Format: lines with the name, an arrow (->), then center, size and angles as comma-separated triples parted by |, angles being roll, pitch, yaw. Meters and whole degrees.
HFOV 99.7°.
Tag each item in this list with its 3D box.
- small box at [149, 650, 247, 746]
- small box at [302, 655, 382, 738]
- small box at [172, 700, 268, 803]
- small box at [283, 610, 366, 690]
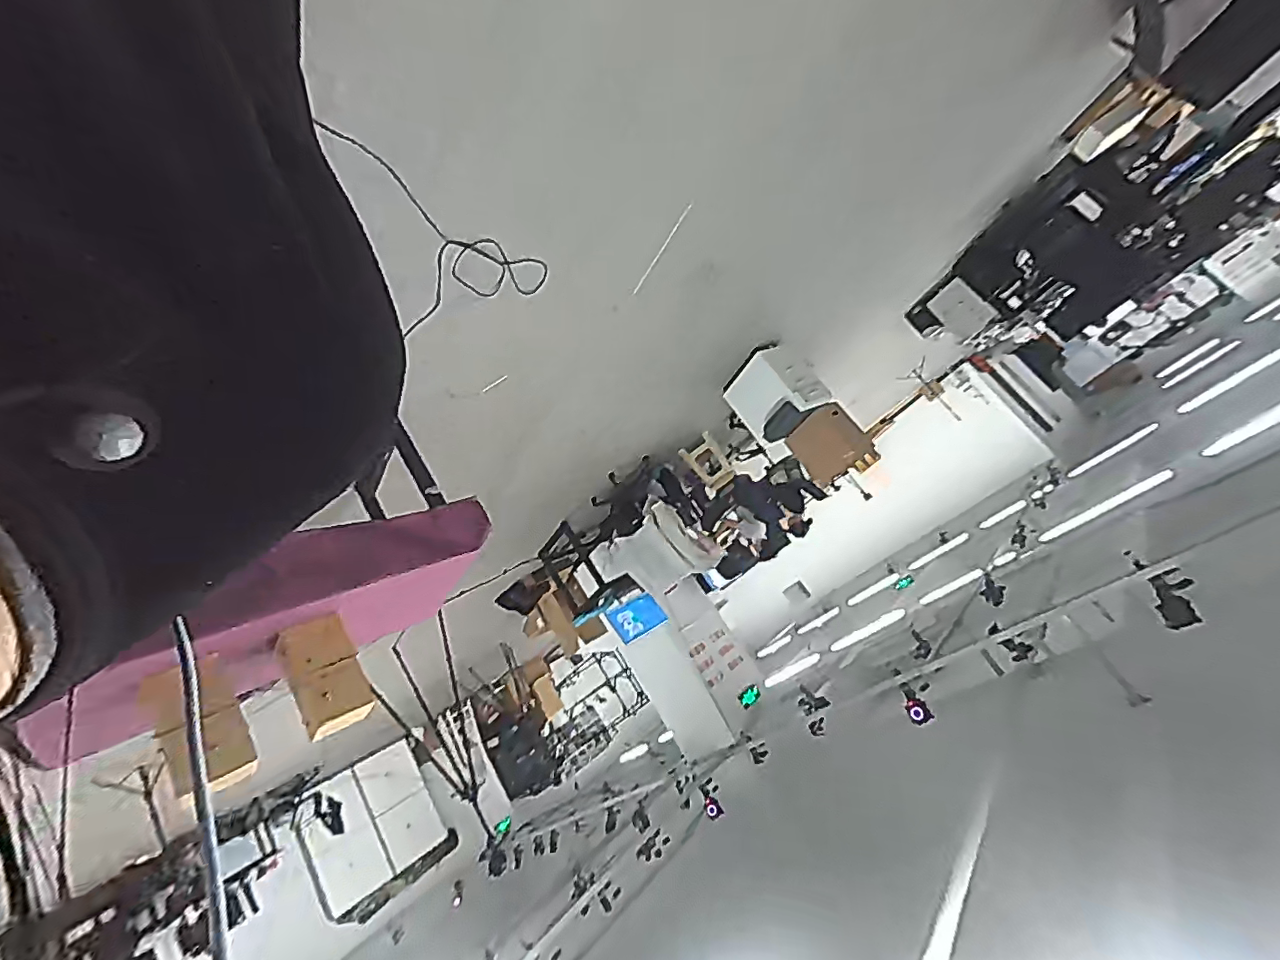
small box -> -1.247, 0.611, 1.530 | 0.179, 0.176, 0.168 | -19, 157, -45
small box -> -0.955, 0.681, 1.724 | 0.168, 0.176, 0.179 | -15, 155, -46
small box -> -1.155, 0.739, 1.482 | 0.179, 0.176, 0.168 | -18, 157, -46
small box -> -1.038, 0.551, 1.775 | 0.179, 0.176, 0.168 | -14, 155, -47
